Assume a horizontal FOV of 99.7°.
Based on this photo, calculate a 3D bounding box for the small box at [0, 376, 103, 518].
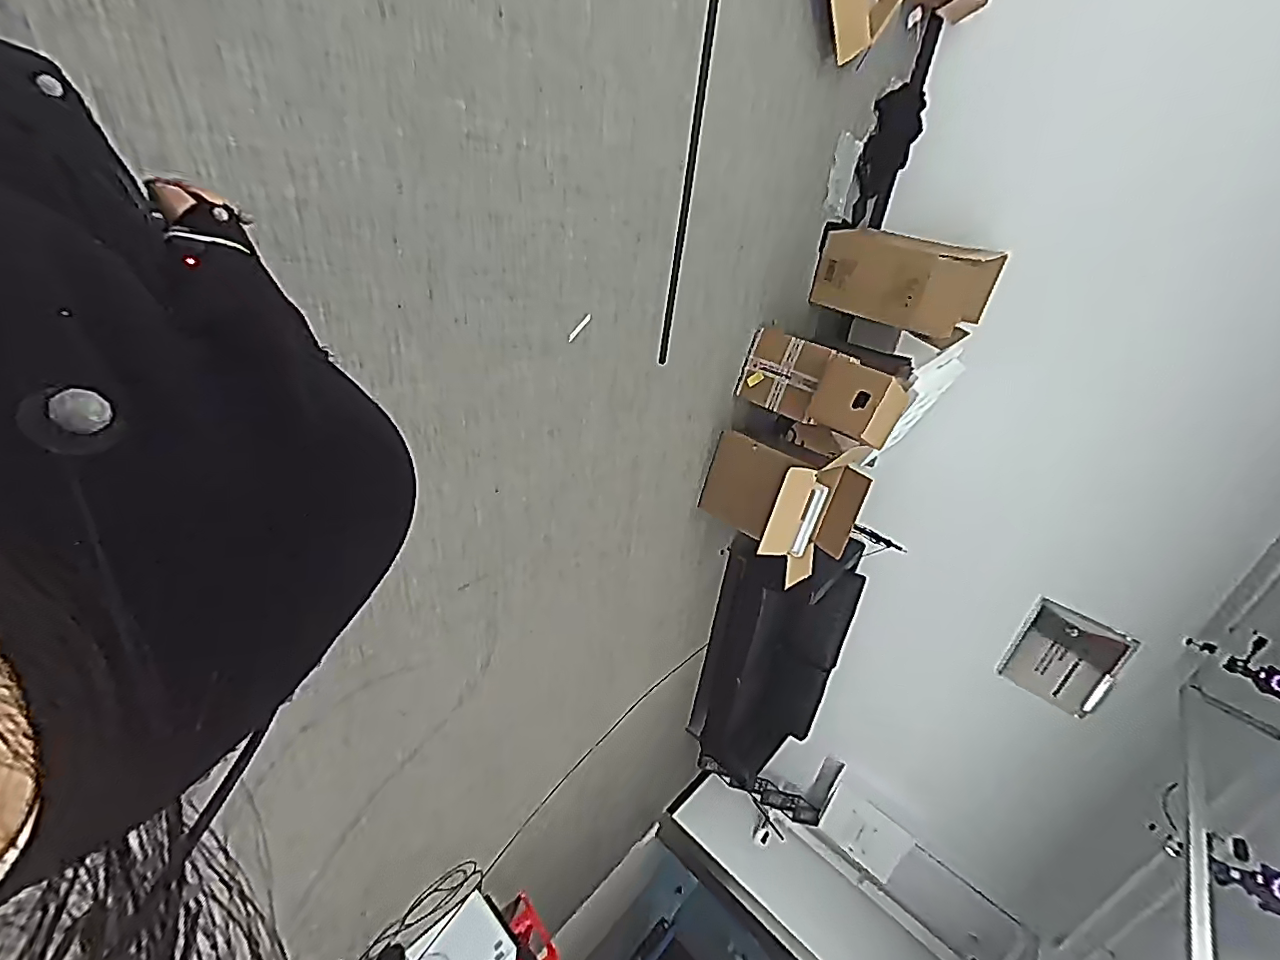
[{"bbox_3d":[-1.122,-0.063,0.964,0.168,0.176,0.179,-33,137,-38],"label":"small box"}]
